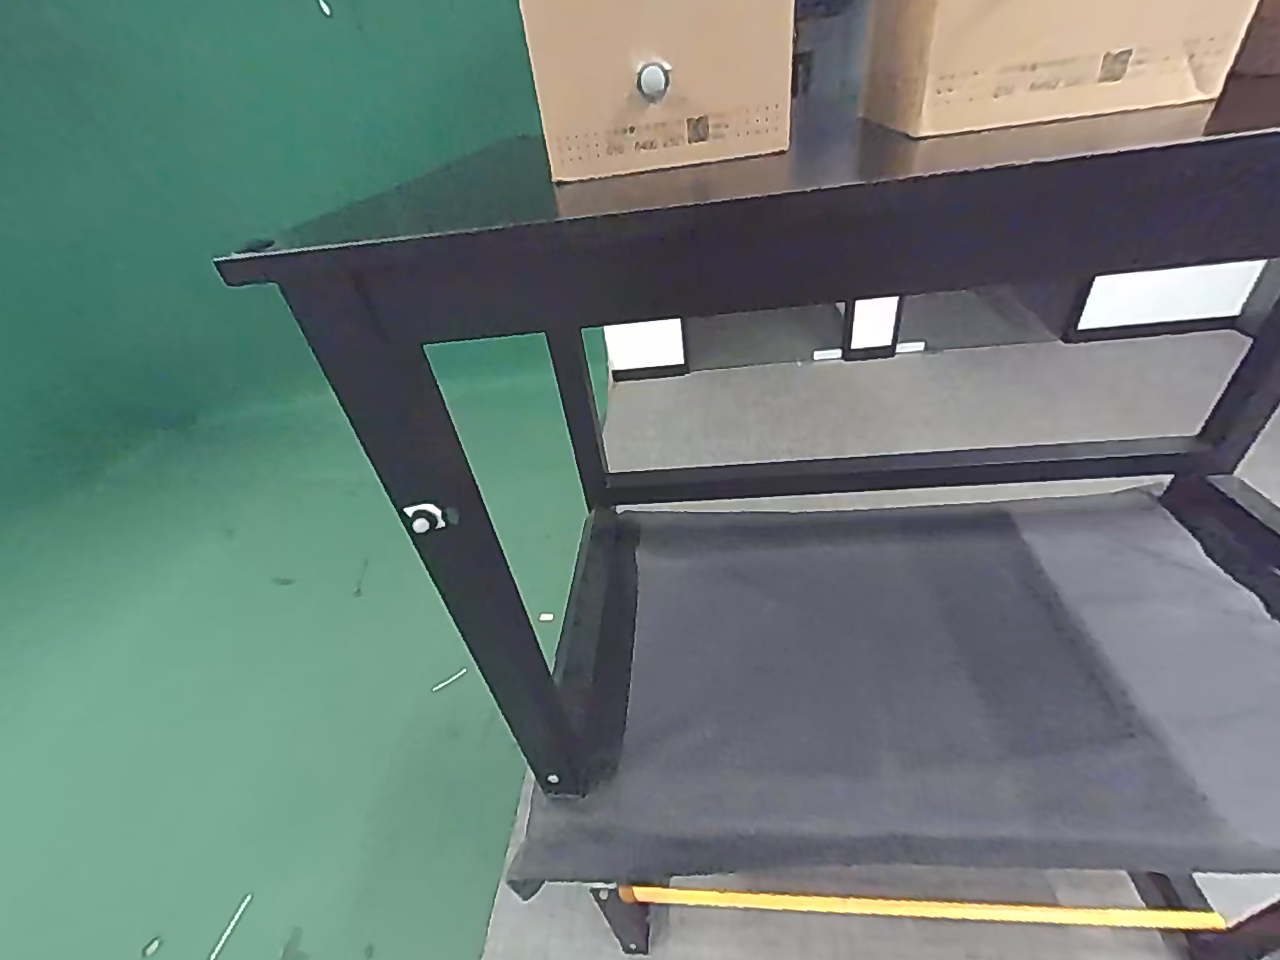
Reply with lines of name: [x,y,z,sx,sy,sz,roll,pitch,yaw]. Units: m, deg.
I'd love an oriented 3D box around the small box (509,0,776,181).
small box: [0.003,-0.330,0.395,0.168,0.176,0.179,-6,37,6]

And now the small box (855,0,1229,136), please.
small box: [0.243,-0.331,0.343,0.168,0.176,0.179,-2,37,10]
